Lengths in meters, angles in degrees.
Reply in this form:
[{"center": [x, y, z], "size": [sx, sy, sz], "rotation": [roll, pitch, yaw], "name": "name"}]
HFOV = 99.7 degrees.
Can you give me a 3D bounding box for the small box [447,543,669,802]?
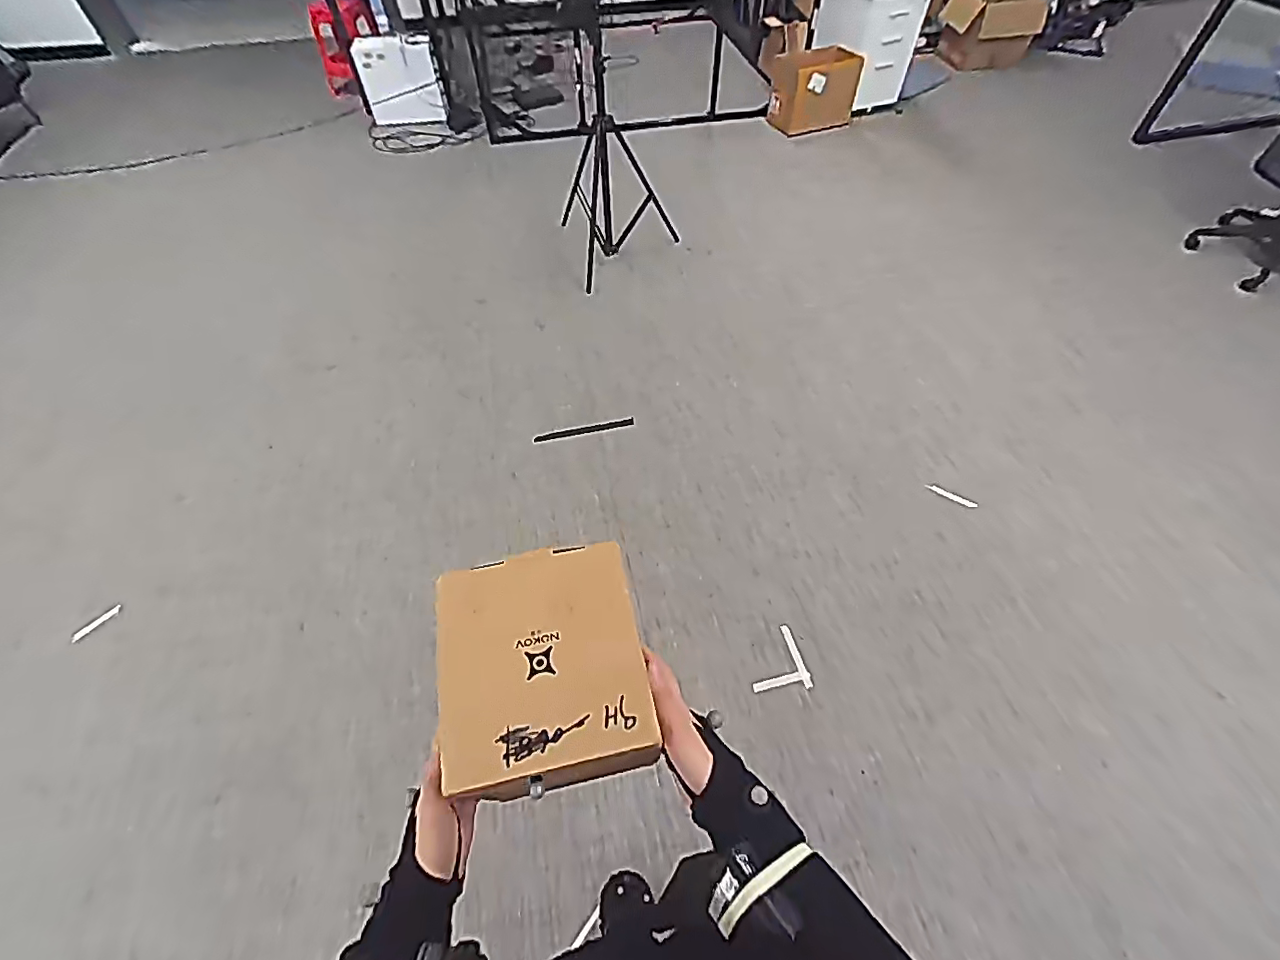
[{"center": [-0.074, 0.185, 0.508], "size": [0.168, 0.176, 0.179], "rotation": [-11, 58, -6], "name": "small box"}]
